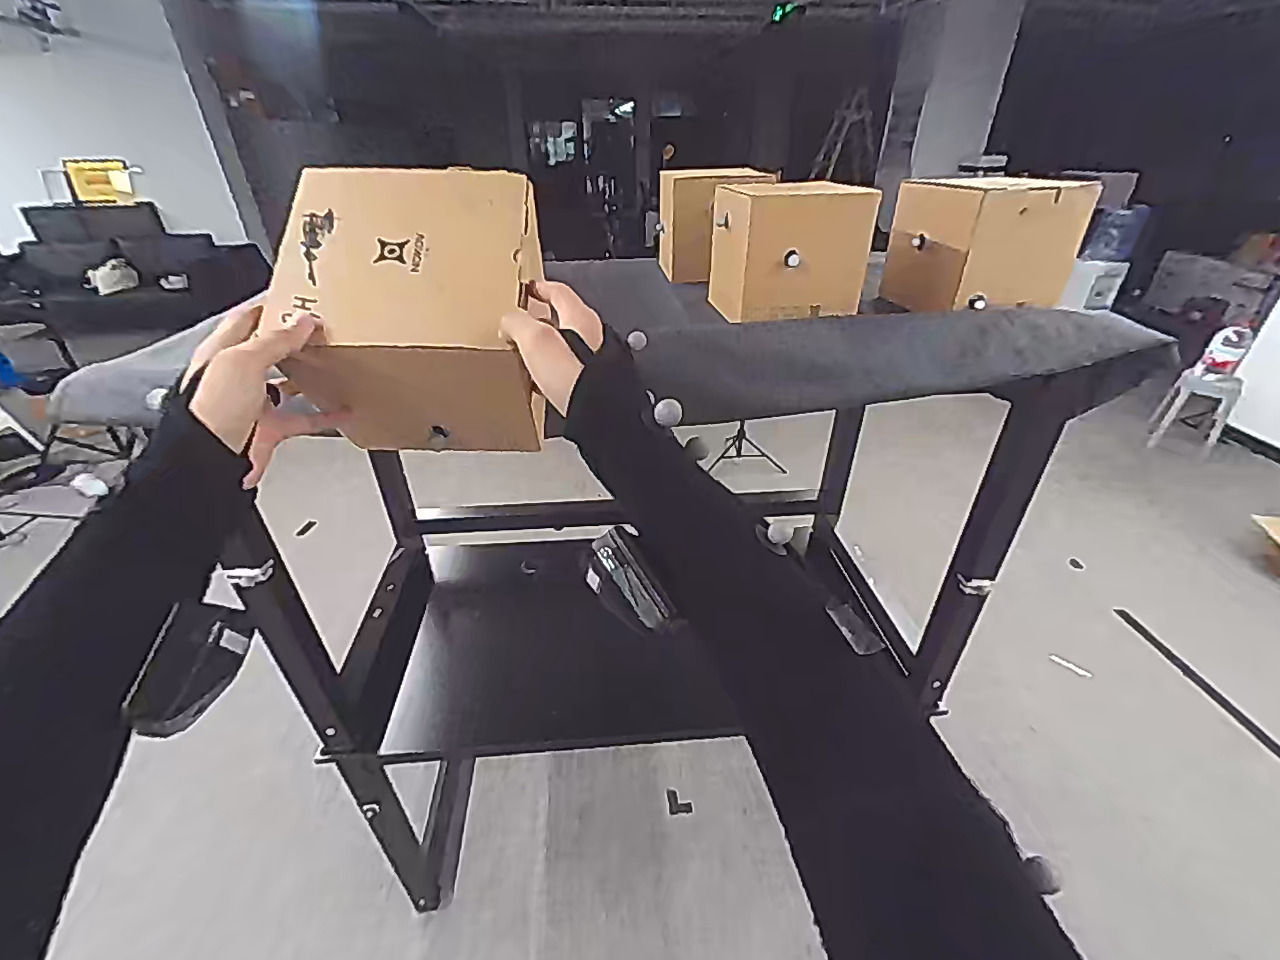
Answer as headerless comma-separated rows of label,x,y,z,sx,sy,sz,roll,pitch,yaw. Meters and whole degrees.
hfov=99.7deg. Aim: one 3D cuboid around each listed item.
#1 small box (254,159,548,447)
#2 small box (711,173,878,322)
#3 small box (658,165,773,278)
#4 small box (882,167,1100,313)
small box,-0.174,-0.137,0.464,0.179,0.176,0.168,1,67,-4
small box,0.198,-0.321,0.749,0.168,0.176,0.179,-5,32,-6
small box,0.128,-0.471,0.985,0.179,0.176,0.168,-3,33,-4
small box,0.472,-0.337,0.761,0.168,0.176,0.179,-7,31,-8
